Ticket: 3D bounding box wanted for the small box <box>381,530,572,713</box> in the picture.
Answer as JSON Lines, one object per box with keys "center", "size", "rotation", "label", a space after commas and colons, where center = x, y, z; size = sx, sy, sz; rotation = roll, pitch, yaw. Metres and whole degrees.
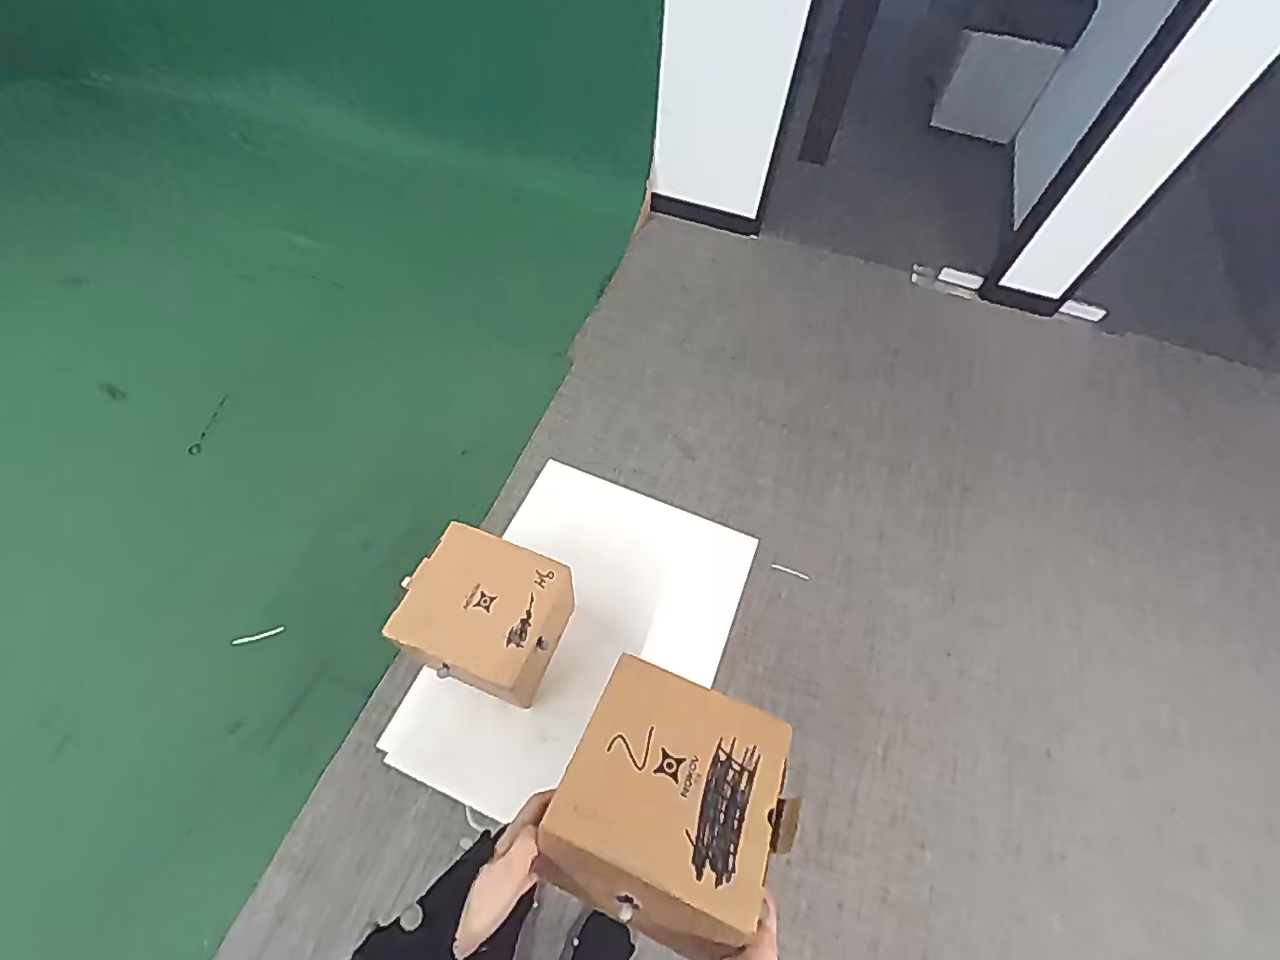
{"center": [-0.205, 0.199, 0.737], "size": [0.179, 0.176, 0.168], "rotation": [20, 60, 7], "label": "small box"}
